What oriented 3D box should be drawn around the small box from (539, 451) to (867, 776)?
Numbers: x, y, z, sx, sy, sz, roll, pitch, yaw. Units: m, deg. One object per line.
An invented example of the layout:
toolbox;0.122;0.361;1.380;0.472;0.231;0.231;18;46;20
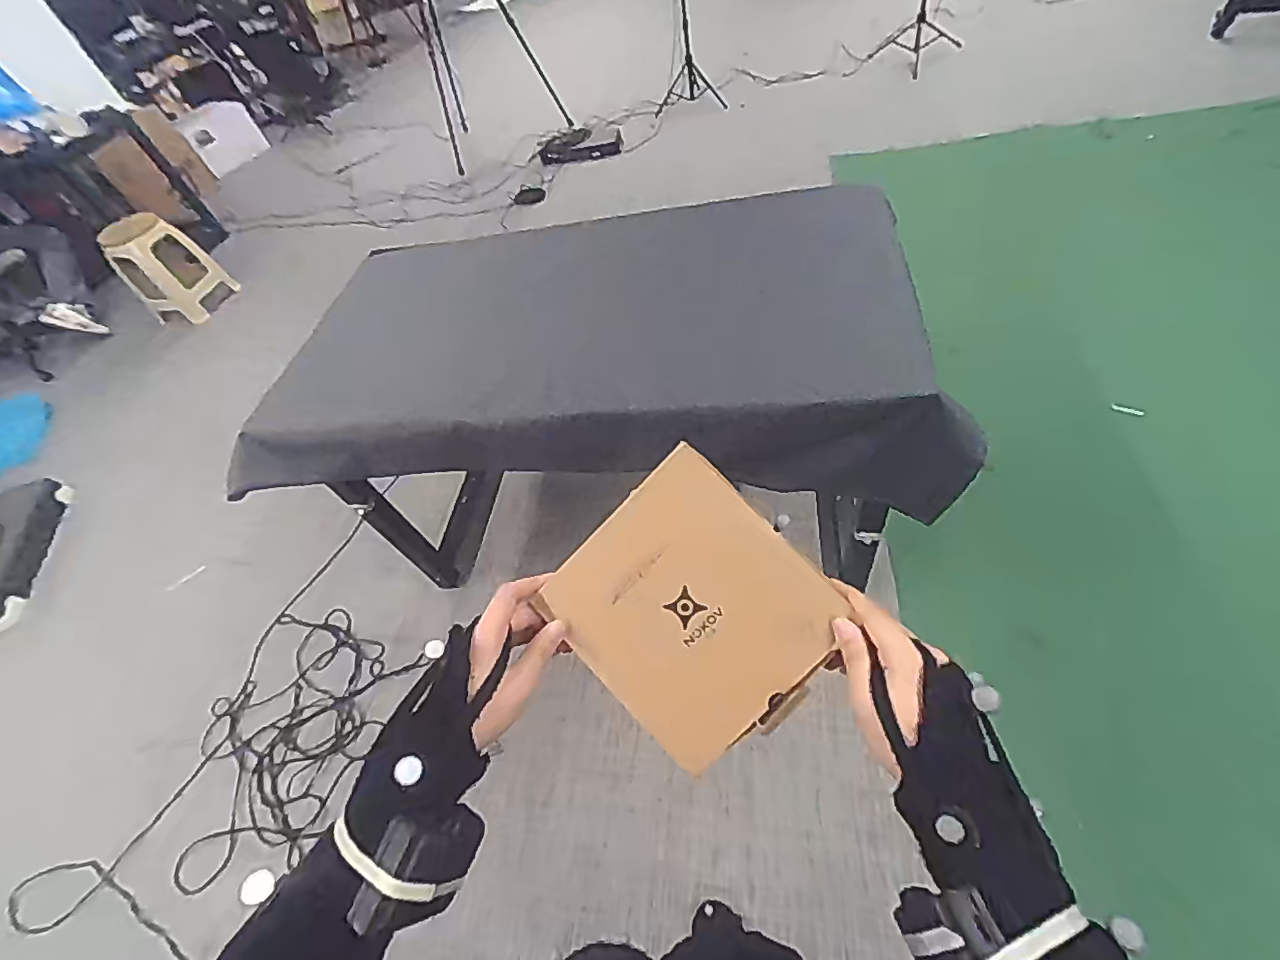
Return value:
small box;0.053;0.094;0.460;0.179;0.176;0.168;45;96;8
